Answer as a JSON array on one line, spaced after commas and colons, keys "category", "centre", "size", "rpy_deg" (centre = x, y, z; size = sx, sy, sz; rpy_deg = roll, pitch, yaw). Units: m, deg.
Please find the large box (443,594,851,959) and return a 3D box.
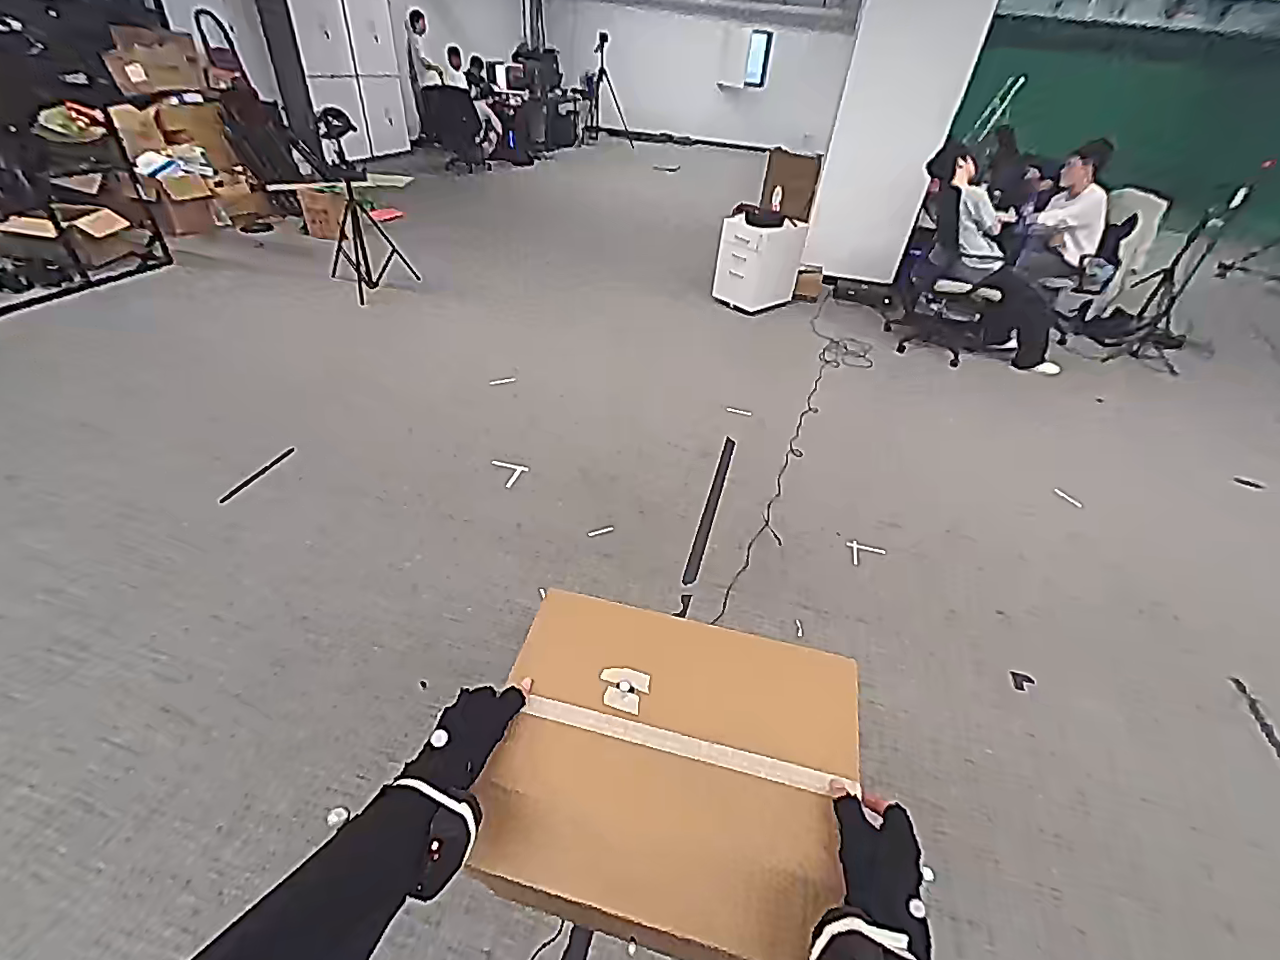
[{"category": "large box", "centre": [0.030, 0.396, 0.716], "size": [0.408, 0.320, 0.320], "rpy_deg": [11, 46, 10]}]
